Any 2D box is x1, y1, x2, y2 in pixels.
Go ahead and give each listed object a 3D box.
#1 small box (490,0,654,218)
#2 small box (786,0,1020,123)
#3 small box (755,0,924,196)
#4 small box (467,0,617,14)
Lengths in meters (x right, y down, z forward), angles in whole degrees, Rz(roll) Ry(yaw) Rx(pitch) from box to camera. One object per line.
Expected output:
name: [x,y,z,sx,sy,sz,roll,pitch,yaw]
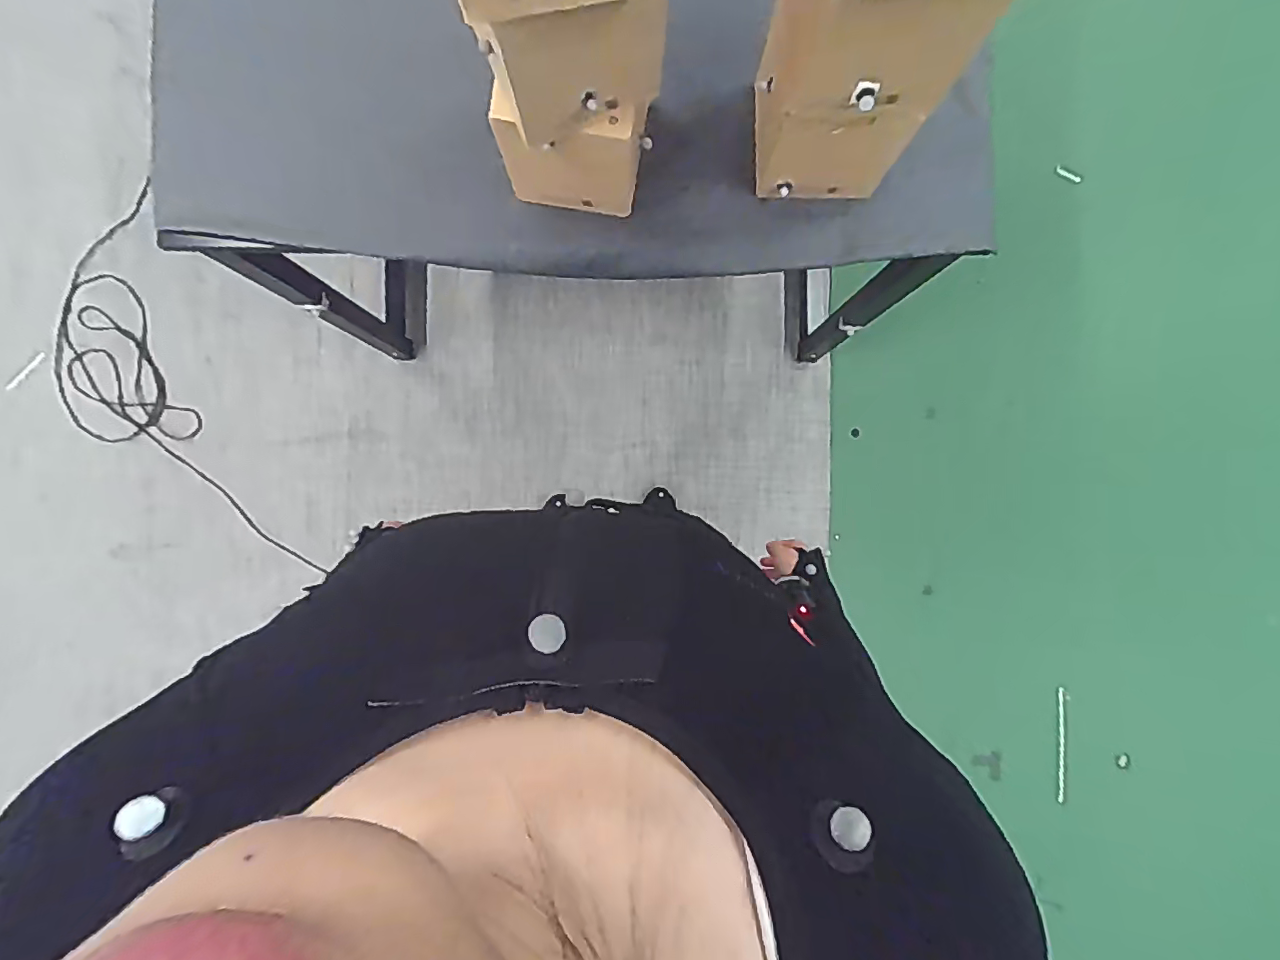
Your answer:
small box: [-0.080,-0.476,0.698,0.168,0.176,0.179,9,87,-1]
small box: [0.250,-0.500,0.540,0.168,0.176,0.179,-4,88,0]
small box: [0.249,-0.496,0.702,0.168,0.176,0.179,0,86,0]
small box: [-0.076,-0.470,0.369,0.168,0.176,0.179,-12,88,-1]
